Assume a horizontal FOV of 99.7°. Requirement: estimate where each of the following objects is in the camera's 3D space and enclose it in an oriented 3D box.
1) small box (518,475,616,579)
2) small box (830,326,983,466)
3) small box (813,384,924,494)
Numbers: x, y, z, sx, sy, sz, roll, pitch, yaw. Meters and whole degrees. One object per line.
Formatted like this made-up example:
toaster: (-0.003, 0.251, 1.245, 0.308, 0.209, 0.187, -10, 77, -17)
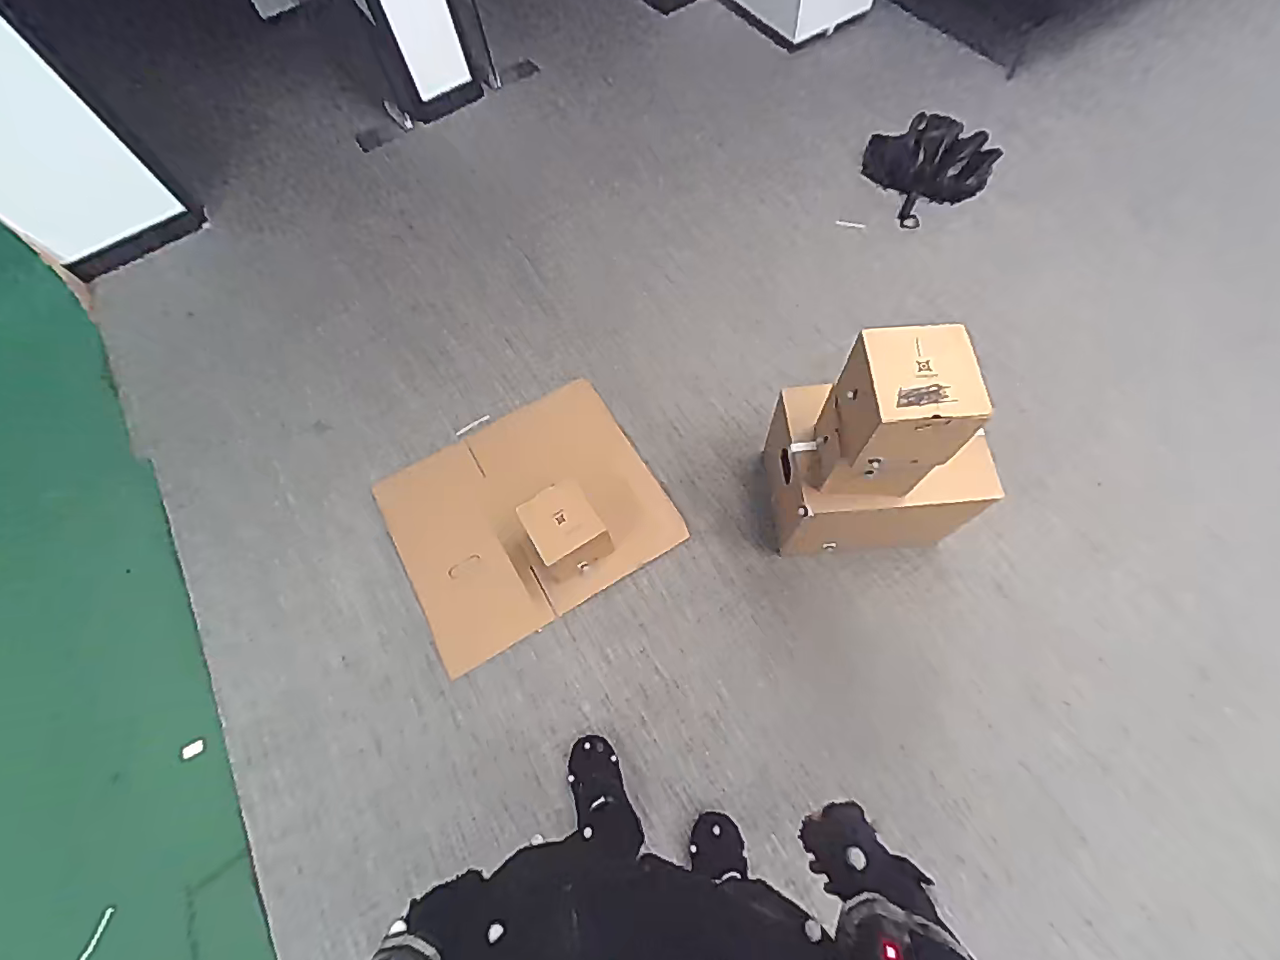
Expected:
small box: (-0.179, 0.125, 1.360, 0.168, 0.176, 0.179, -32, 68, -8)
small box: (0.439, -0.133, 0.922, 0.168, 0.176, 0.179, -6, 67, 2)
small box: (0.453, -0.078, 1.080, 0.179, 0.176, 0.168, 0, 64, 4)
